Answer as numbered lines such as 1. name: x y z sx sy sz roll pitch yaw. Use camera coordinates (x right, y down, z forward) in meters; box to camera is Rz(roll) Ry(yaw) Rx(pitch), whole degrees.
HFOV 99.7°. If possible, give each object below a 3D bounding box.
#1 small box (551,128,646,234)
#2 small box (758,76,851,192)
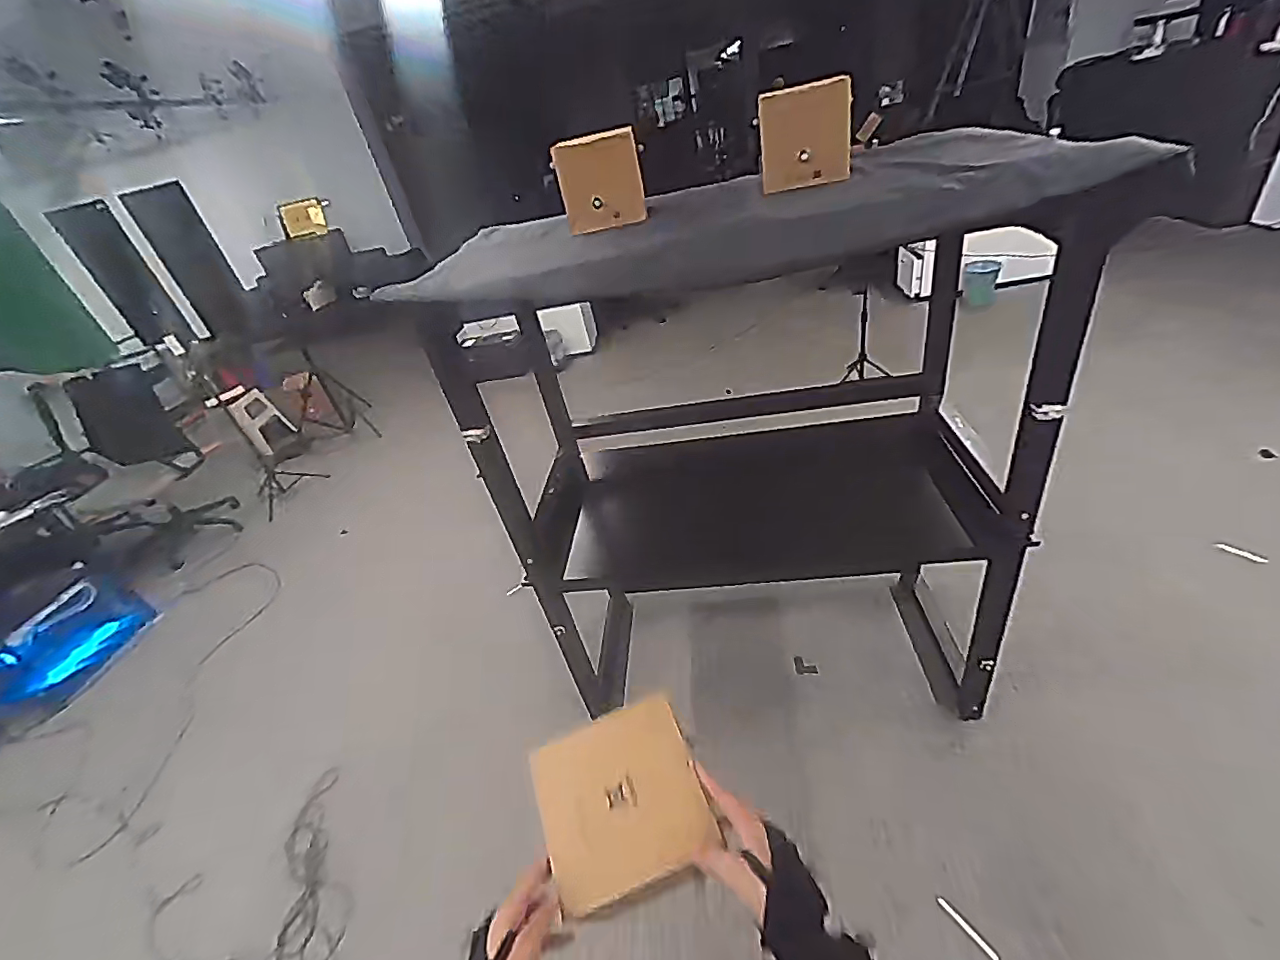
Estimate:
1. small box: -0.082 -0.645 1.169 0.168 0.176 0.179 -10 35 5
2. small box: 0.333 -0.705 1.106 0.168 0.176 0.179 -3 36 16
